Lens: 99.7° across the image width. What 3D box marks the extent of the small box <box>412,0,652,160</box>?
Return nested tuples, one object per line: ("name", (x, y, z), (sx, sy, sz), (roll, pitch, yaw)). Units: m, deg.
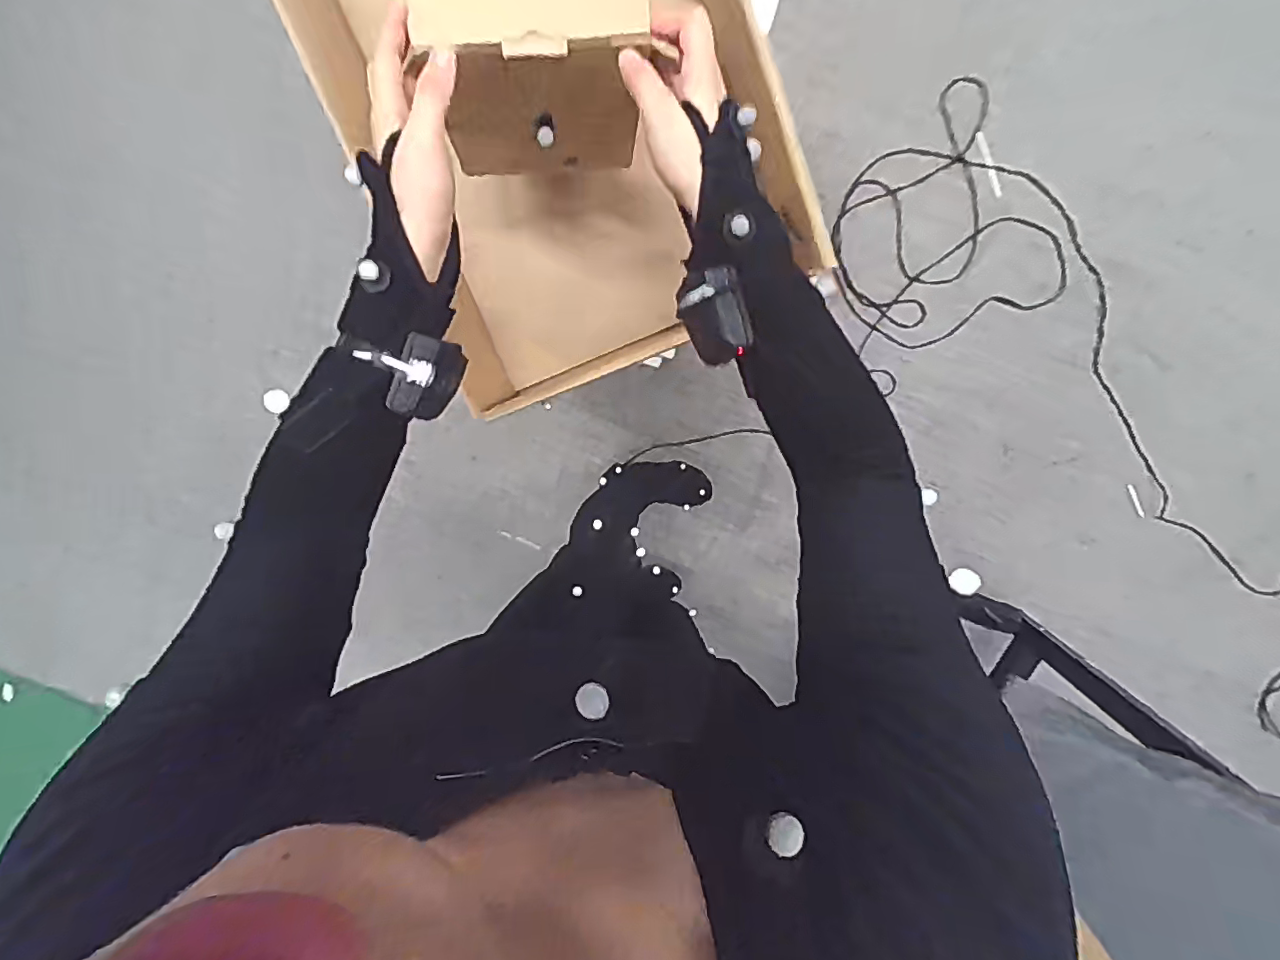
("small box", (-0.083, -0.388, 0.445), (0.168, 0.176, 0.179), (-5, 94, -5))
